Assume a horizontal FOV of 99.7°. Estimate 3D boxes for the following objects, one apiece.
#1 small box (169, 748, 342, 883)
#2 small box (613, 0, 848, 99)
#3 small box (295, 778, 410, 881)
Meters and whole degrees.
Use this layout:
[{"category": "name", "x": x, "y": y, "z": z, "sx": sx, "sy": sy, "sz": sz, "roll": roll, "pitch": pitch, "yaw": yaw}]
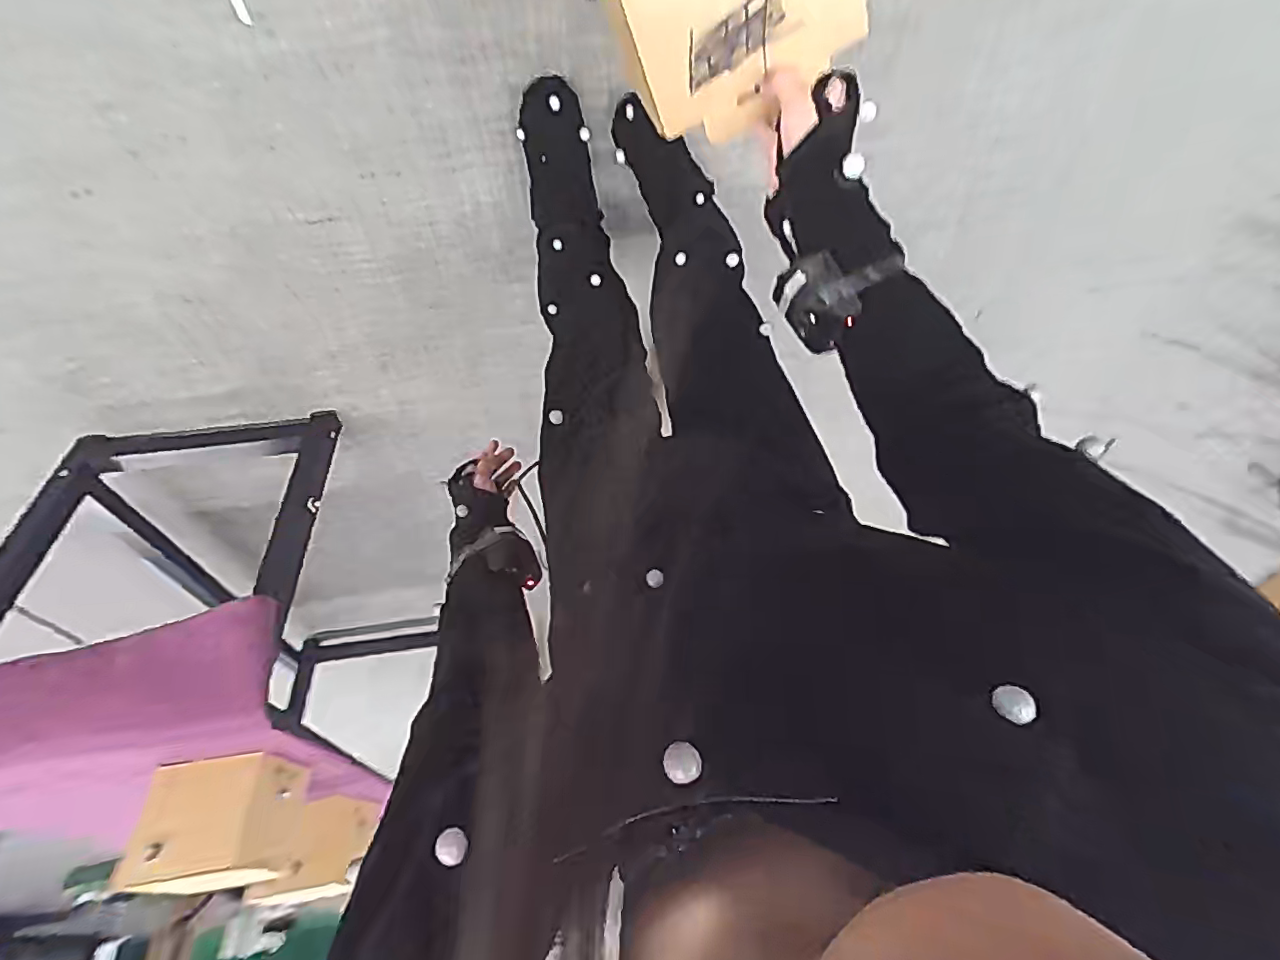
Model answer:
[{"category": "small box", "x": -0.659, "y": 0.592, "z": 0.955, "sx": 0.179, "sy": 0.176, "sz": 0.168, "roll": -10, "pitch": 145, "yaw": -3}, {"category": "small box", "x": 0.043, "y": -0.423, "z": 0.373, "sx": 0.168, "sy": 0.176, "sz": 0.179, "roll": -23, "pitch": 144, "yaw": 12}, {"category": "small box", "x": -0.659, "y": 0.818, "z": 1.264, "sx": 0.179, "sy": 0.176, "sz": 0.168, "roll": -13, "pitch": 144, "yaw": 0}]
